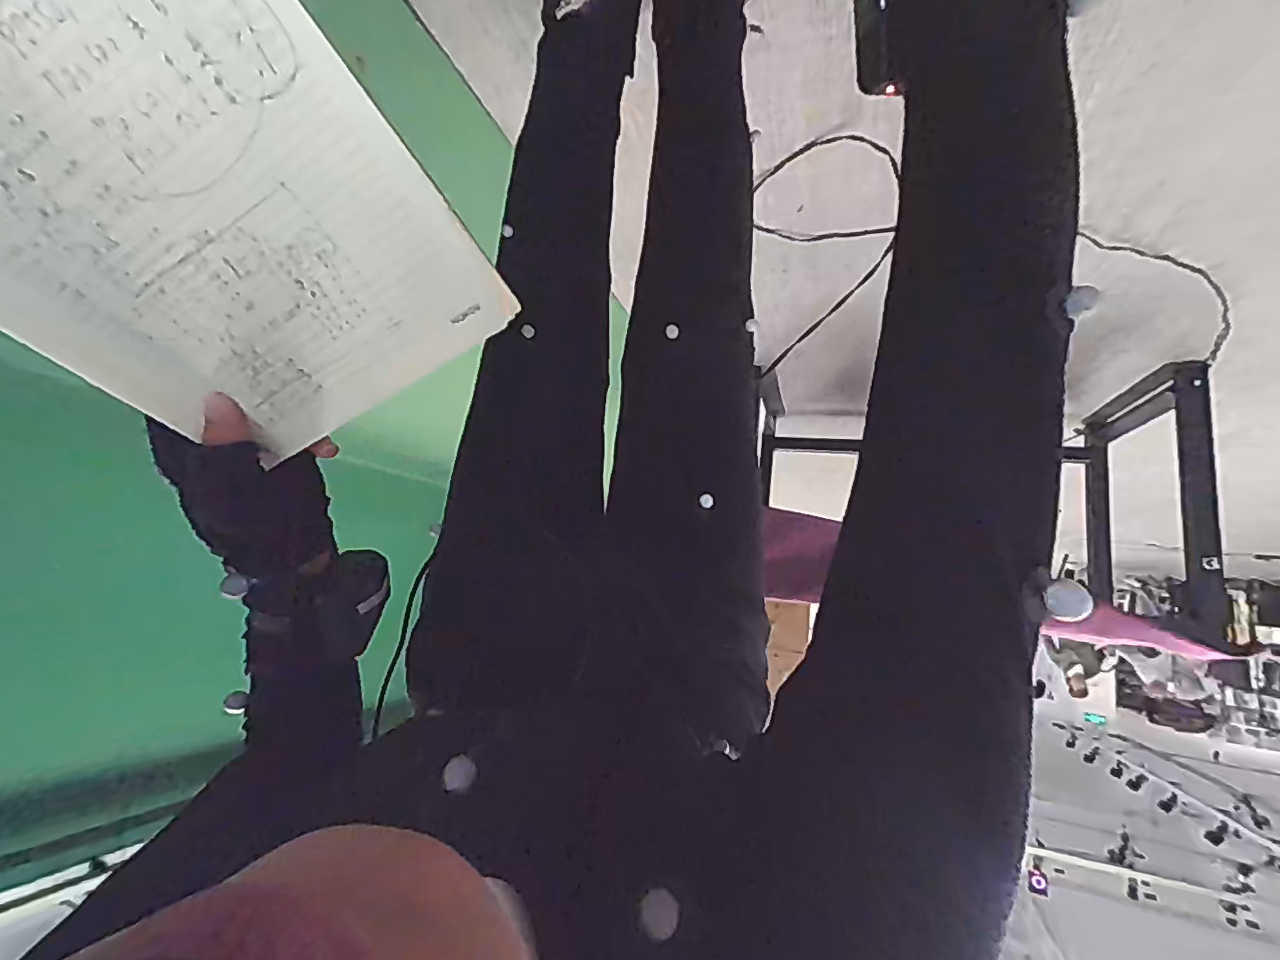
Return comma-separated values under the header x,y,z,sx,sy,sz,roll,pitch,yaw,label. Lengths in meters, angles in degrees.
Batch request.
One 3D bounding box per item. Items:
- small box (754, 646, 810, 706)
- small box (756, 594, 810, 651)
x,y,z,sx,sy,sz,roll,pitch,yaw,label
0.475,0.641,1.806,0.168,0.176,0.179,4,169,19,small box
0.487,0.480,1.838,0.168,0.176,0.179,3,170,18,small box
